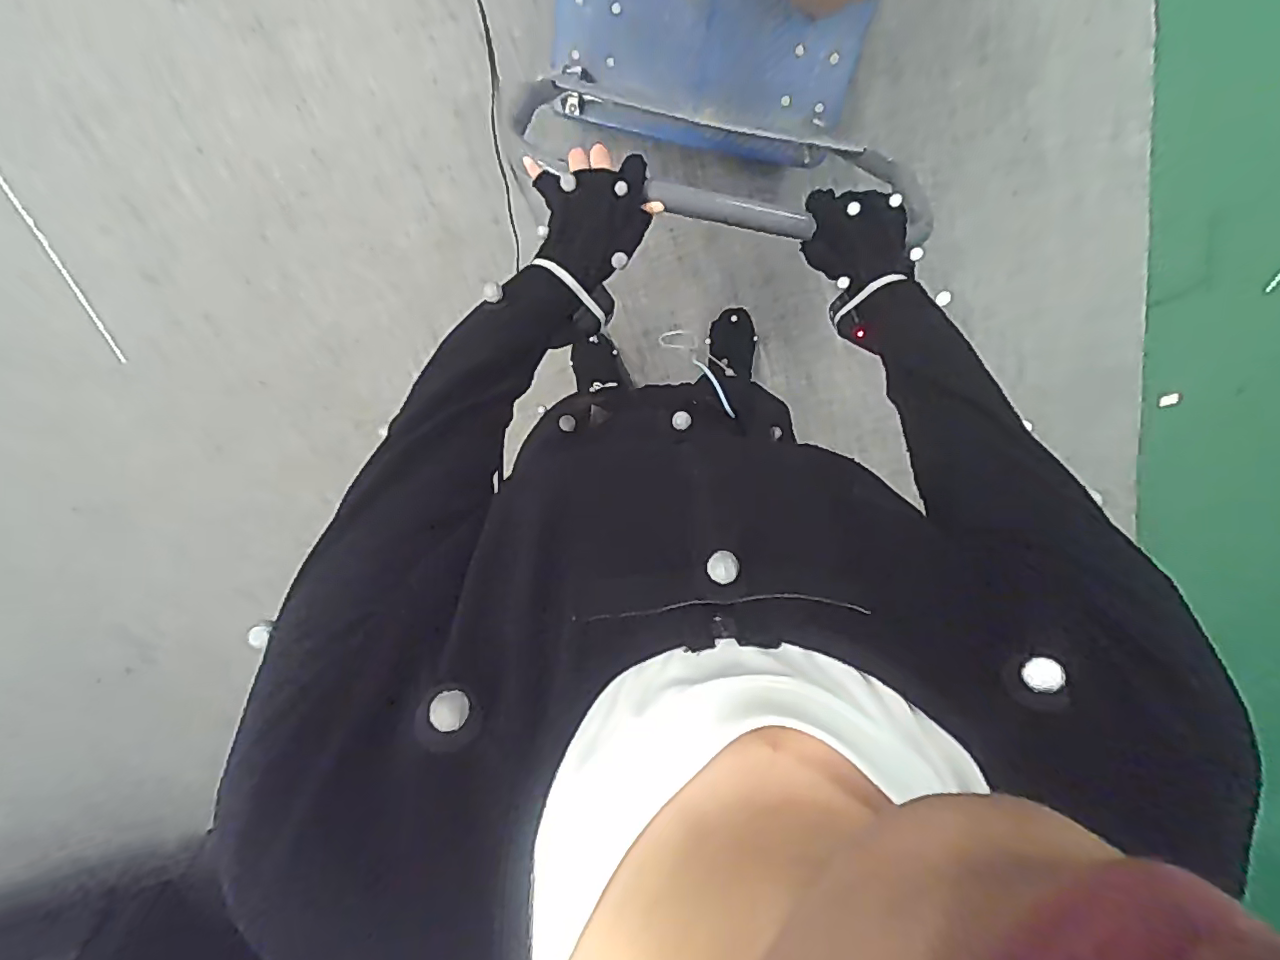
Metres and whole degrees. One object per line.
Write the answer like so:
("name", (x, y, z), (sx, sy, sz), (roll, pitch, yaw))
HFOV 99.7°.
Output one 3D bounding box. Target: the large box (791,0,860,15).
("large box", (0.208, -0.943, 0.756), (0.408, 0.320, 0.320), (22, 124, -12))
